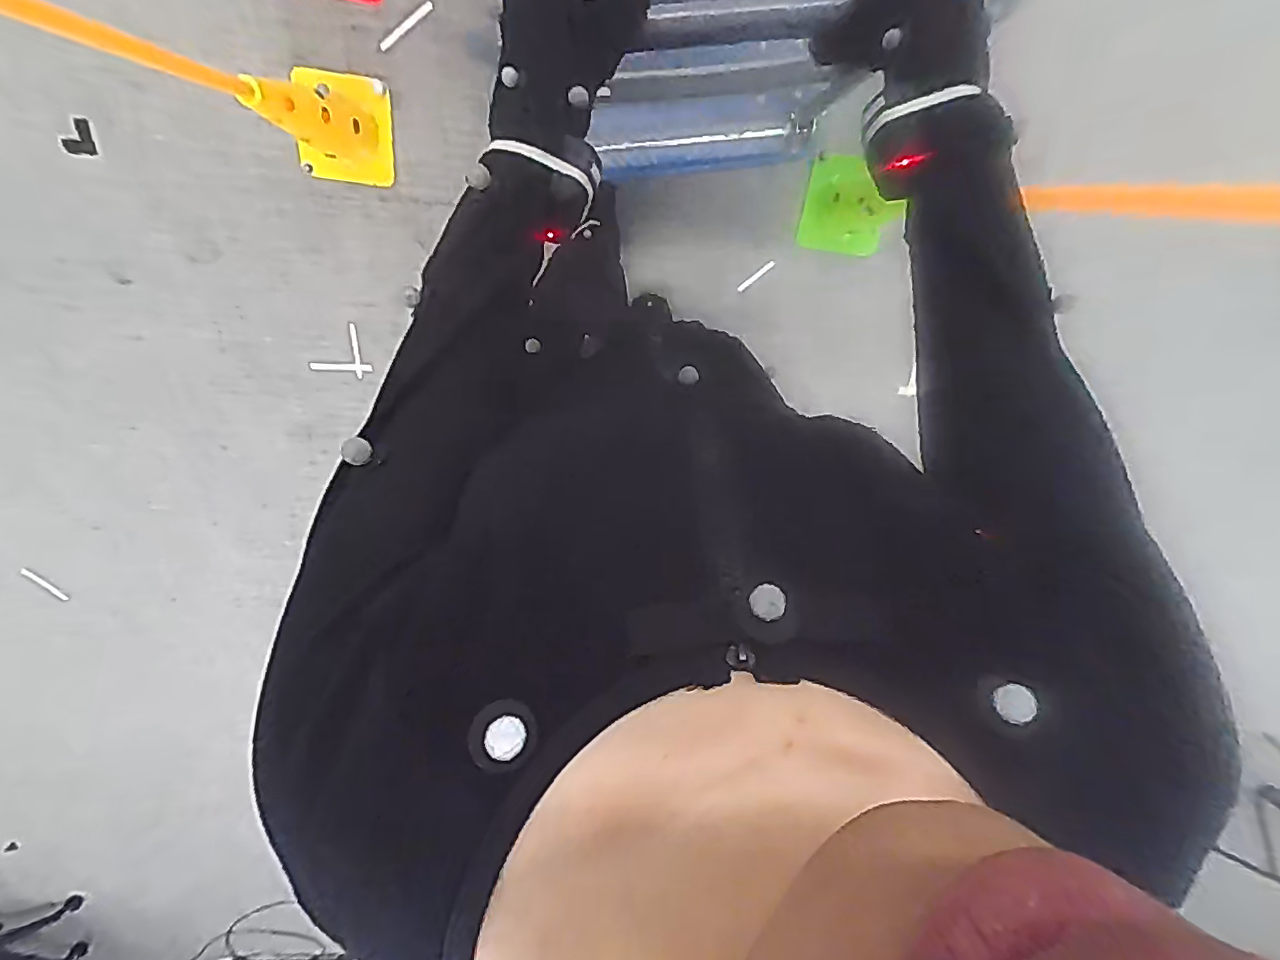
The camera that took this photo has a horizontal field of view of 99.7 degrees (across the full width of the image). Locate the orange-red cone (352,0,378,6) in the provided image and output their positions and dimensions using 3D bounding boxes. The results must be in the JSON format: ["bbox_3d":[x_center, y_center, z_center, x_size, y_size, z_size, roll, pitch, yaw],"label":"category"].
[{"bbox_3d":[-0.588,-0.987,0.882,0.198,0.360,0.199,9,112,-8],"label":"orange-red cone"}]

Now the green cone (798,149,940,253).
[{"bbox_3d":[0.494,-0.579,1.113,0.202,0.368,0.200,5,114,-6],"label":"green cone"}]
